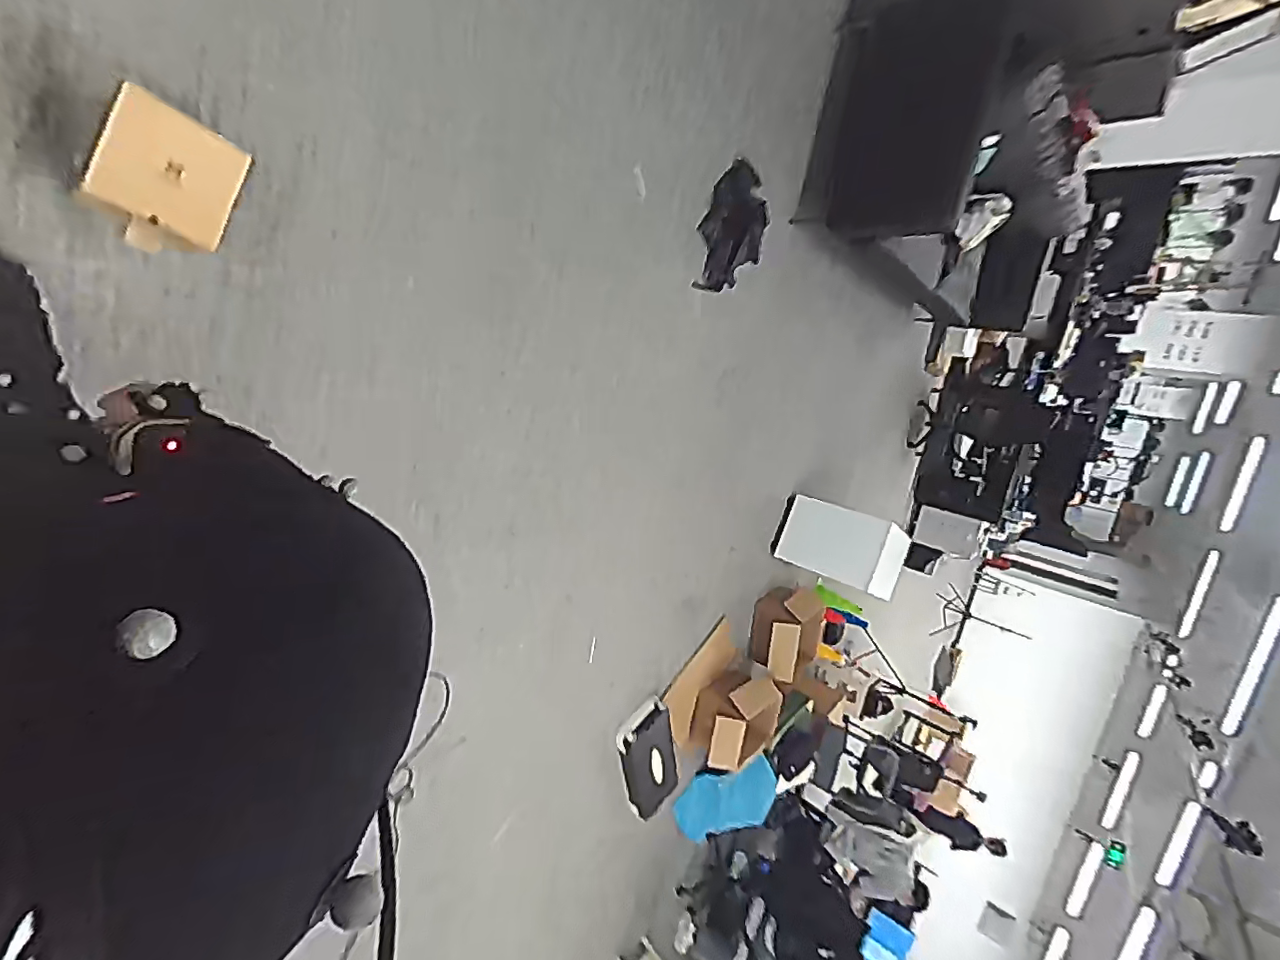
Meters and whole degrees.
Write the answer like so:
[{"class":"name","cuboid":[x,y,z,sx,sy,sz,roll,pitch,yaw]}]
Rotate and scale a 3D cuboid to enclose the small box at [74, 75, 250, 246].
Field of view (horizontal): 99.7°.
[{"class":"small box","cuboid":[-0.787,-0.511,0.889,0.168,0.176,0.179,22,89,-52]}]
